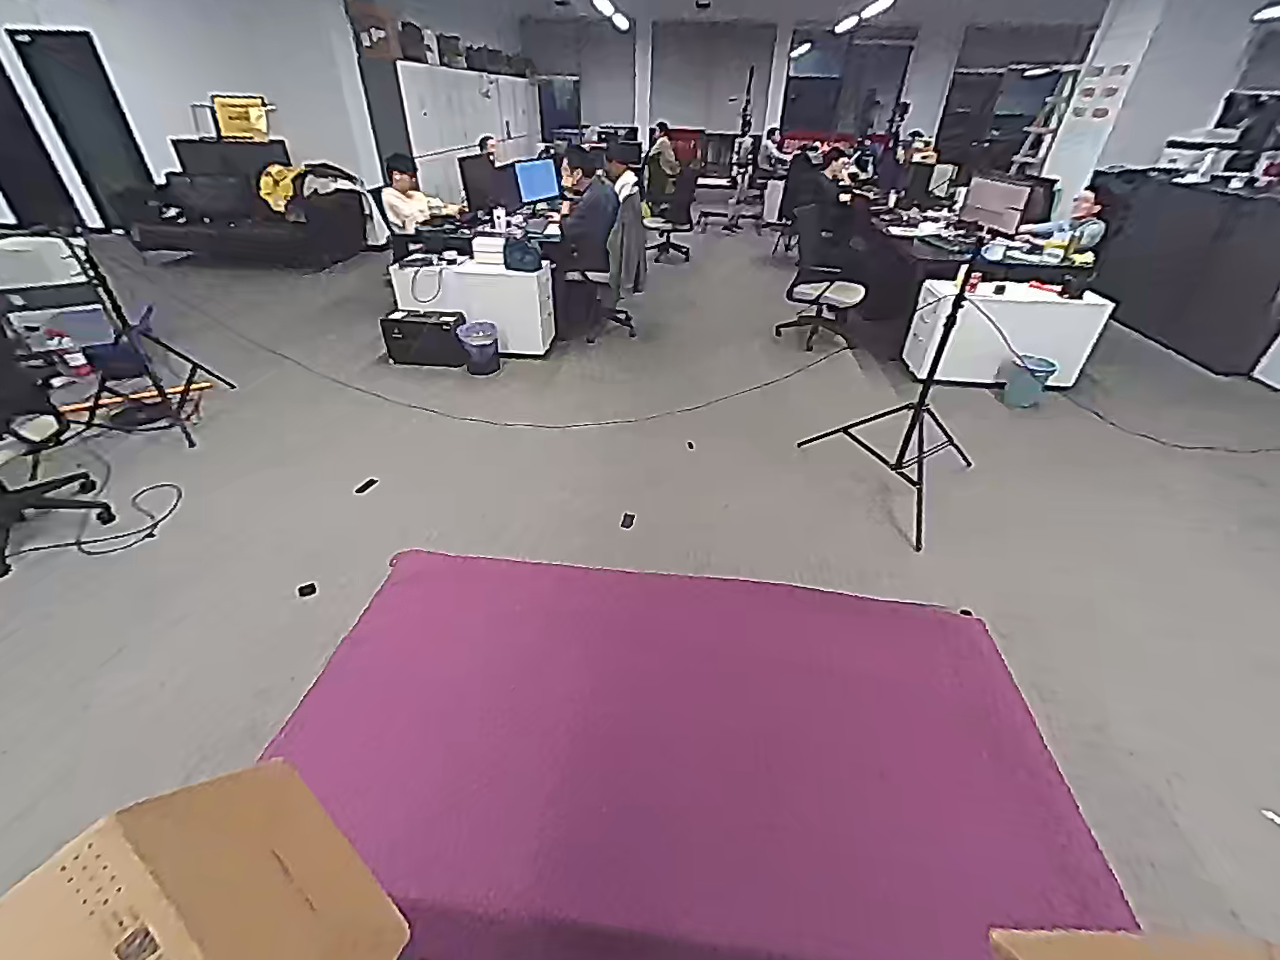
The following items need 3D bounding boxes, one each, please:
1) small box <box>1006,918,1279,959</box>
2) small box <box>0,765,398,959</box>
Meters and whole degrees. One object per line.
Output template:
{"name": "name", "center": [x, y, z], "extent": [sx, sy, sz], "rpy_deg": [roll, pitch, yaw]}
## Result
{"name": "small box", "center": [0.302, 0.327, 0.244], "extent": [0.168, 0.179, 0.176], "rpy_deg": [-6, 65, 12]}
{"name": "small box", "center": [-0.268, 0.288, 0.294], "extent": [0.176, 0.179, 0.168], "rpy_deg": [-41, 80, -20]}
